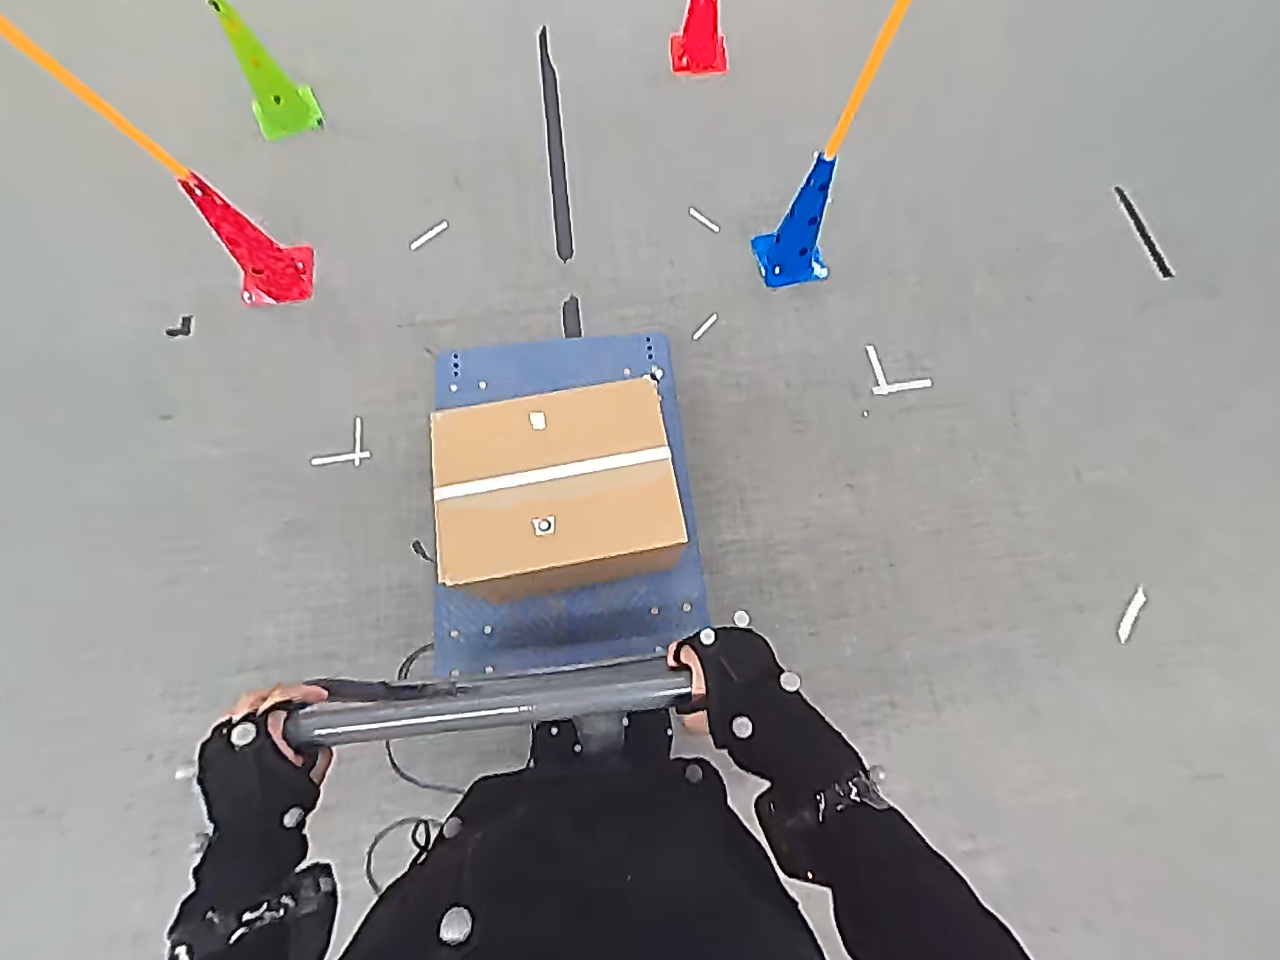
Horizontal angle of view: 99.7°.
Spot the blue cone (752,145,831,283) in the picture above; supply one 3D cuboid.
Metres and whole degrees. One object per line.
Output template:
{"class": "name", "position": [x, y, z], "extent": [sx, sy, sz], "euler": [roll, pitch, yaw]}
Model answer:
{"class": "blue cone", "position": [0.459, -0.747, 1.514], "extent": [0.193, 0.380, 0.192], "euler": [-11, 71, -5]}

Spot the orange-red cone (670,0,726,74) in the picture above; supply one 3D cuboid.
{"class": "orange-red cone", "position": [0.212, -1.584, 1.777], "extent": [0.199, 0.360, 0.198], "euler": [0, 72, -2]}
